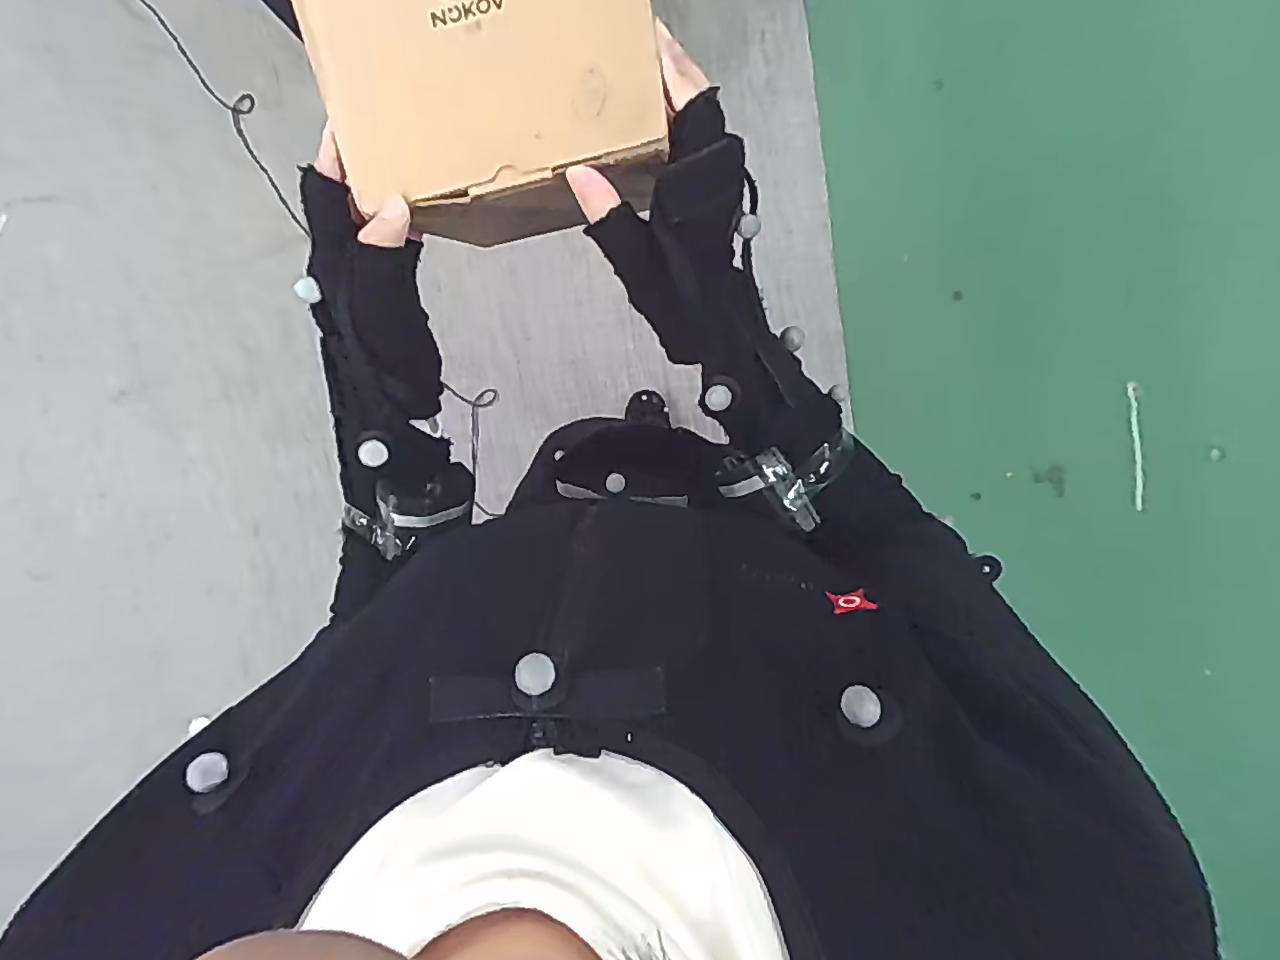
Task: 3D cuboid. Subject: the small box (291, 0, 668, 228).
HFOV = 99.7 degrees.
[{"bbox_3d":[-0.079,-0.263,0.326,0.168,0.176,0.179,-8,106,8],"label":"small box"}]
